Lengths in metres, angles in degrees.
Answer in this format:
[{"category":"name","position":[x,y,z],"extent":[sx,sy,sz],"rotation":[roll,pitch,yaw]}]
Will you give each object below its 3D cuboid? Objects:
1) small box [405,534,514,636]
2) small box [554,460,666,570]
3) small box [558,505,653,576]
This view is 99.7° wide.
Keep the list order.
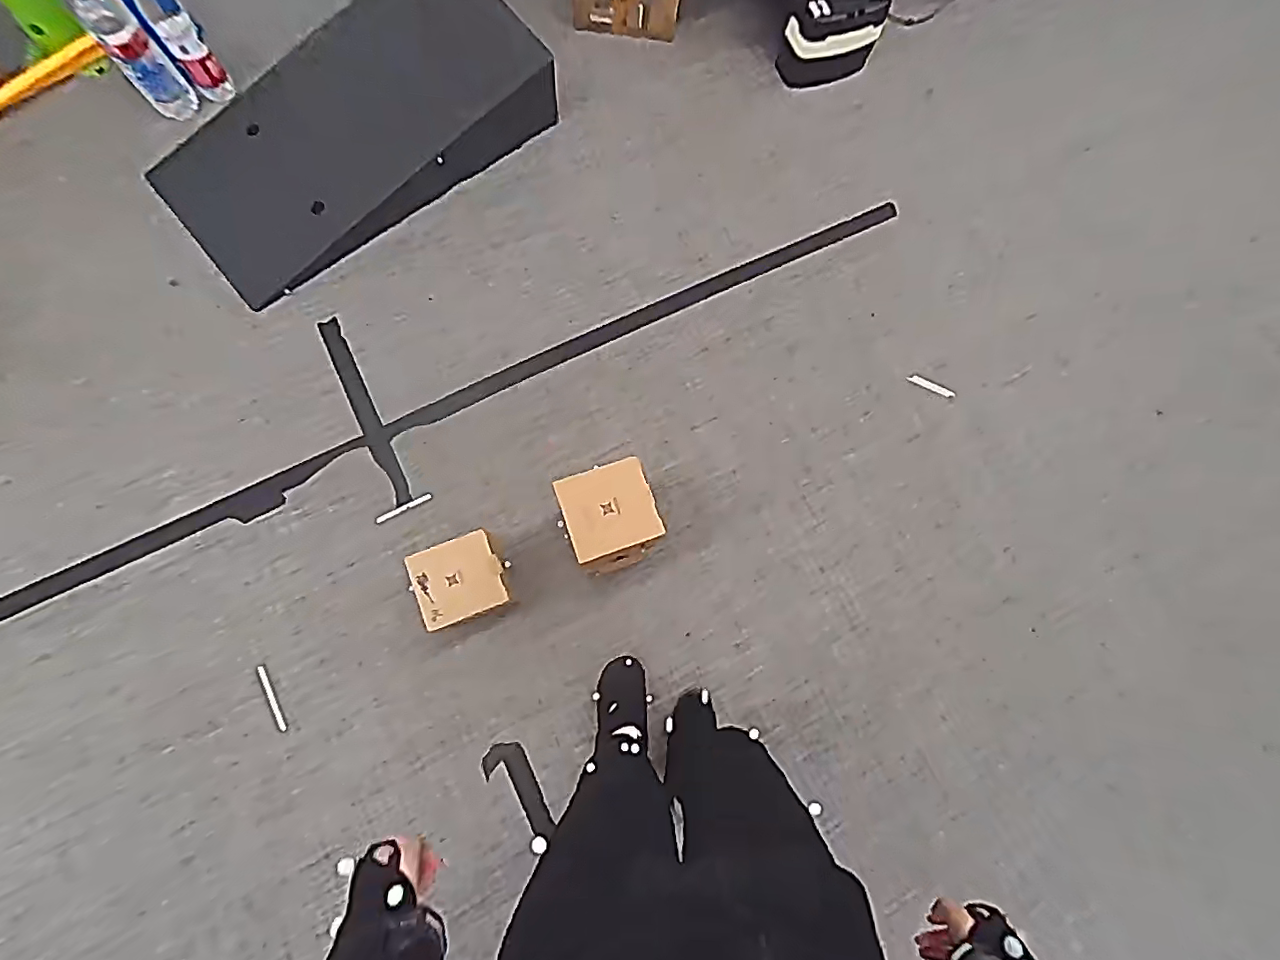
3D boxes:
[{"category":"small box","position":[-0.387,0.230,1.195],"extent":[0.179,0.176,0.168],"rotation":[-20,81,-10]},{"category":"small box","position":[-0.065,0.076,1.092],"extent":[0.179,0.176,0.168],"rotation":[-18,79,-9]},{"category":"small box","position":[-0.081,0.114,1.250],"extent":[0.168,0.176,0.179],"rotation":[-19,80,-10]}]
